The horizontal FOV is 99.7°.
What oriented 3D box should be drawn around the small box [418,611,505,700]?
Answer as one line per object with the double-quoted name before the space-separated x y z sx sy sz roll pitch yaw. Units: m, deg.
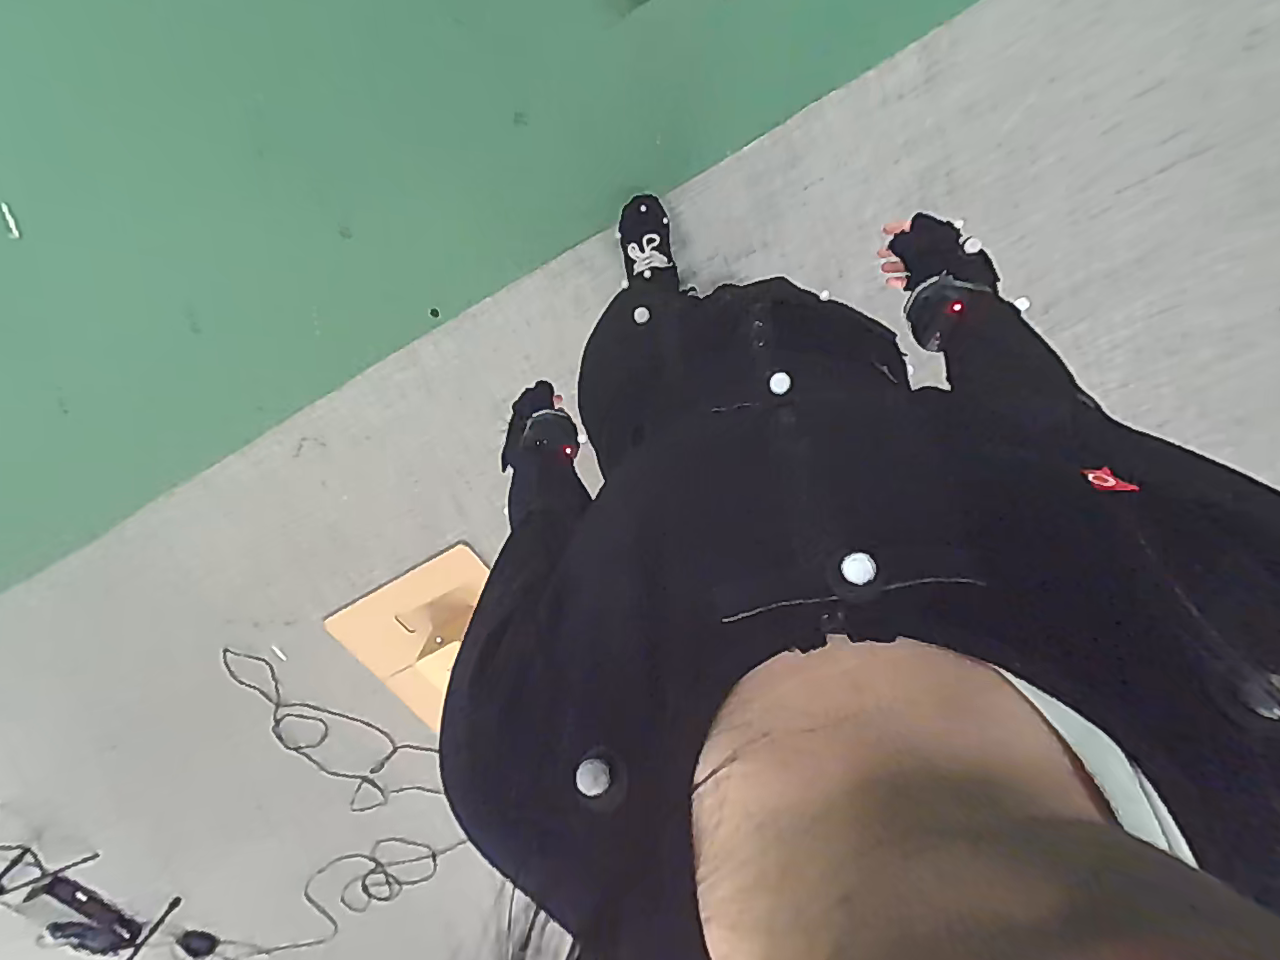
"small box" -0.557 0.553 1.714 0.179 0.176 0.168 -31 110 12
